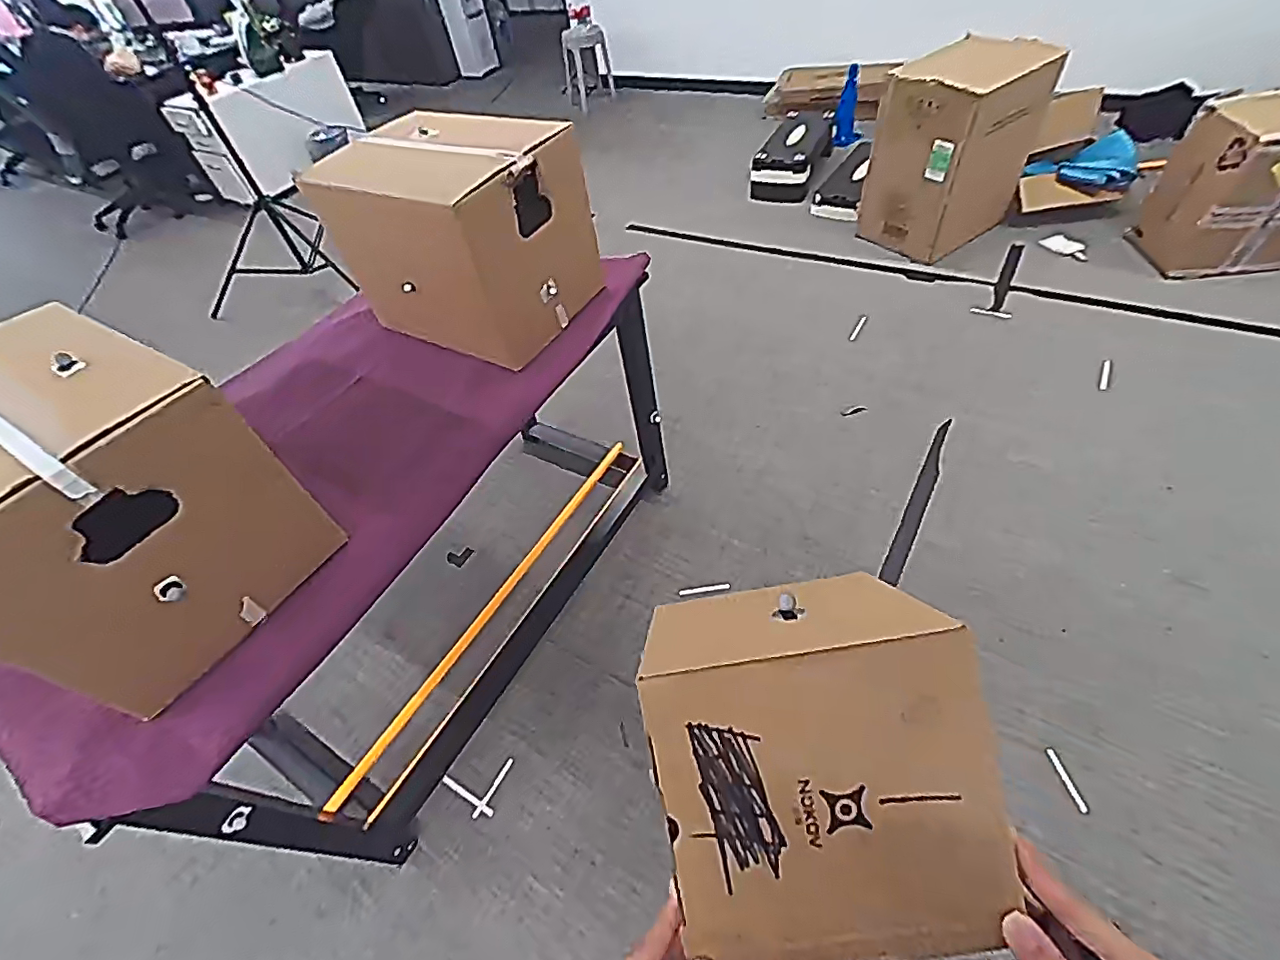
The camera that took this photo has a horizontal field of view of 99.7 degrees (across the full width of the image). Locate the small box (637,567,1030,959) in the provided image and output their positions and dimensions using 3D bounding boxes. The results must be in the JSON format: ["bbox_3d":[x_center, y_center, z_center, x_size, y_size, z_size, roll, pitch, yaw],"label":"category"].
[{"bbox_3d":[0.103,0.162,0.358,0.179,0.176,0.168,-11,89,4],"label":"small box"}]

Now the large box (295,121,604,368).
[{"bbox_3d":[-0.336,-0.461,1.048,0.408,0.320,0.320,20,56,25],"label":"large box"}]
